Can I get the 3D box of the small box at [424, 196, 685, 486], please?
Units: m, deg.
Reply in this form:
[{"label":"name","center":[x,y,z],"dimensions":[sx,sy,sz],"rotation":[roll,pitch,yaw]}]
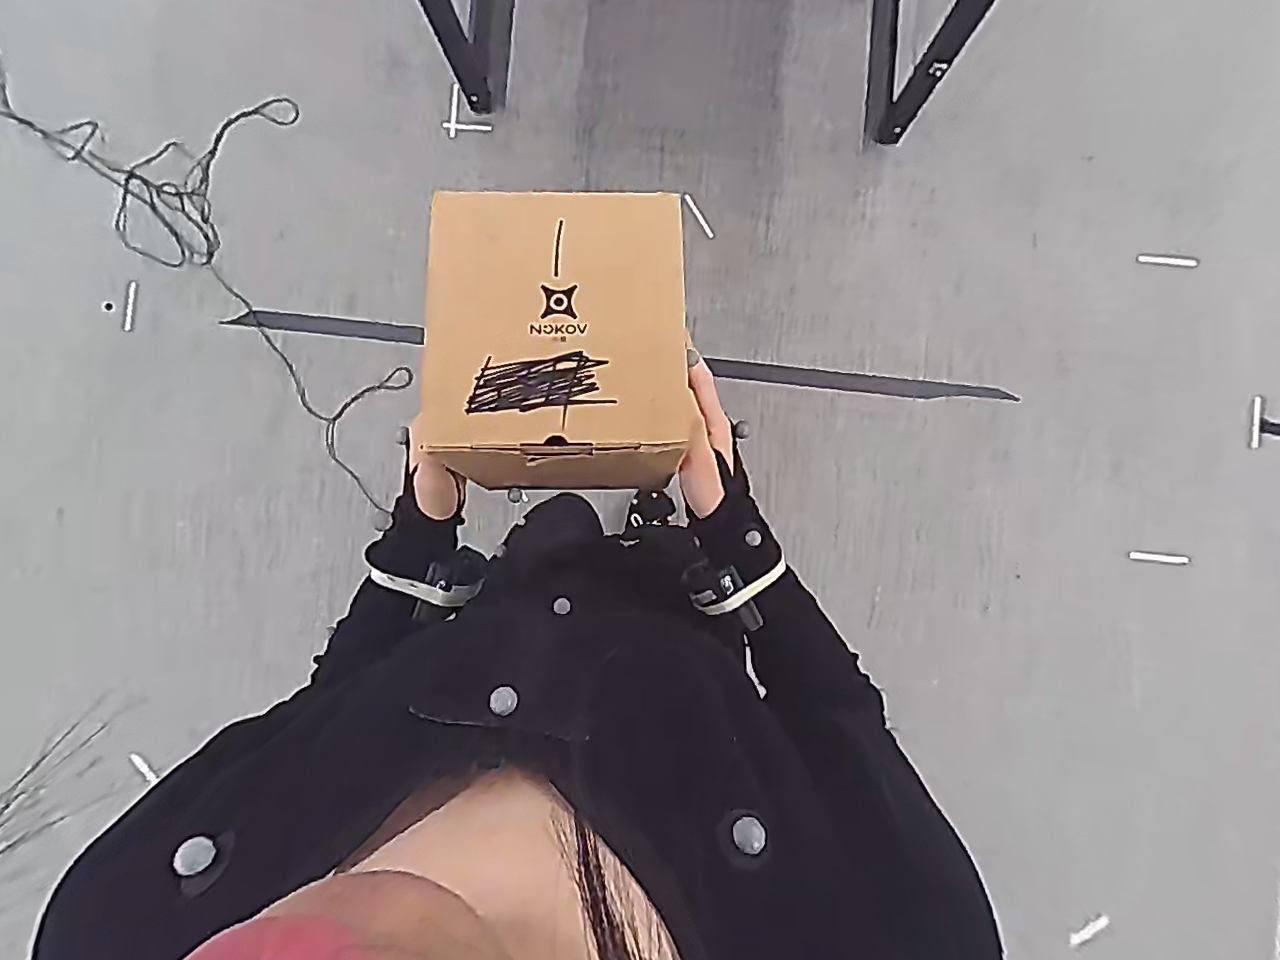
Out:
[{"label":"small box","center":[-0.055,-0.090,0.426],"dimensions":[0.168,0.176,0.179],"rotation":[-1,79,-2]}]
